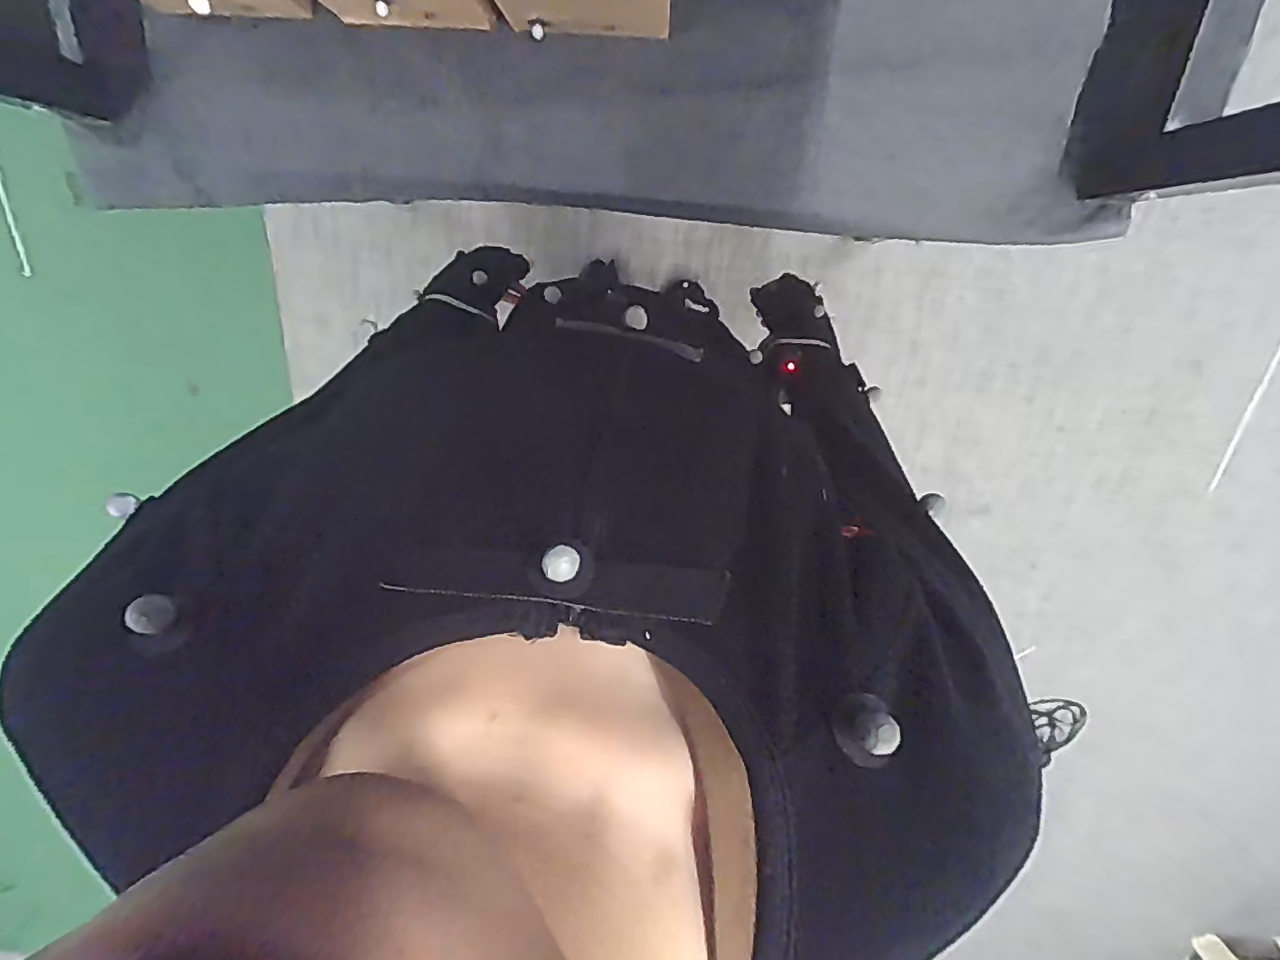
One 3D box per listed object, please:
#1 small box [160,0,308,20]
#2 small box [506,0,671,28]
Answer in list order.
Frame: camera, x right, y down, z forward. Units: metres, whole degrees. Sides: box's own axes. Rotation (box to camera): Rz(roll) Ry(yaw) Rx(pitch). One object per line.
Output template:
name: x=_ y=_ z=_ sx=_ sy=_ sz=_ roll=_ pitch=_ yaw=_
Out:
small box: x=-0.426 y=-0.544 z=0.466 sx=0.168 sy=0.176 sz=0.179 roll=4 pitch=111 yaw=2
small box: x=-0.052 y=-0.519 z=0.456 sx=0.168 sy=0.176 sz=0.179 roll=4 pitch=111 yaw=2
